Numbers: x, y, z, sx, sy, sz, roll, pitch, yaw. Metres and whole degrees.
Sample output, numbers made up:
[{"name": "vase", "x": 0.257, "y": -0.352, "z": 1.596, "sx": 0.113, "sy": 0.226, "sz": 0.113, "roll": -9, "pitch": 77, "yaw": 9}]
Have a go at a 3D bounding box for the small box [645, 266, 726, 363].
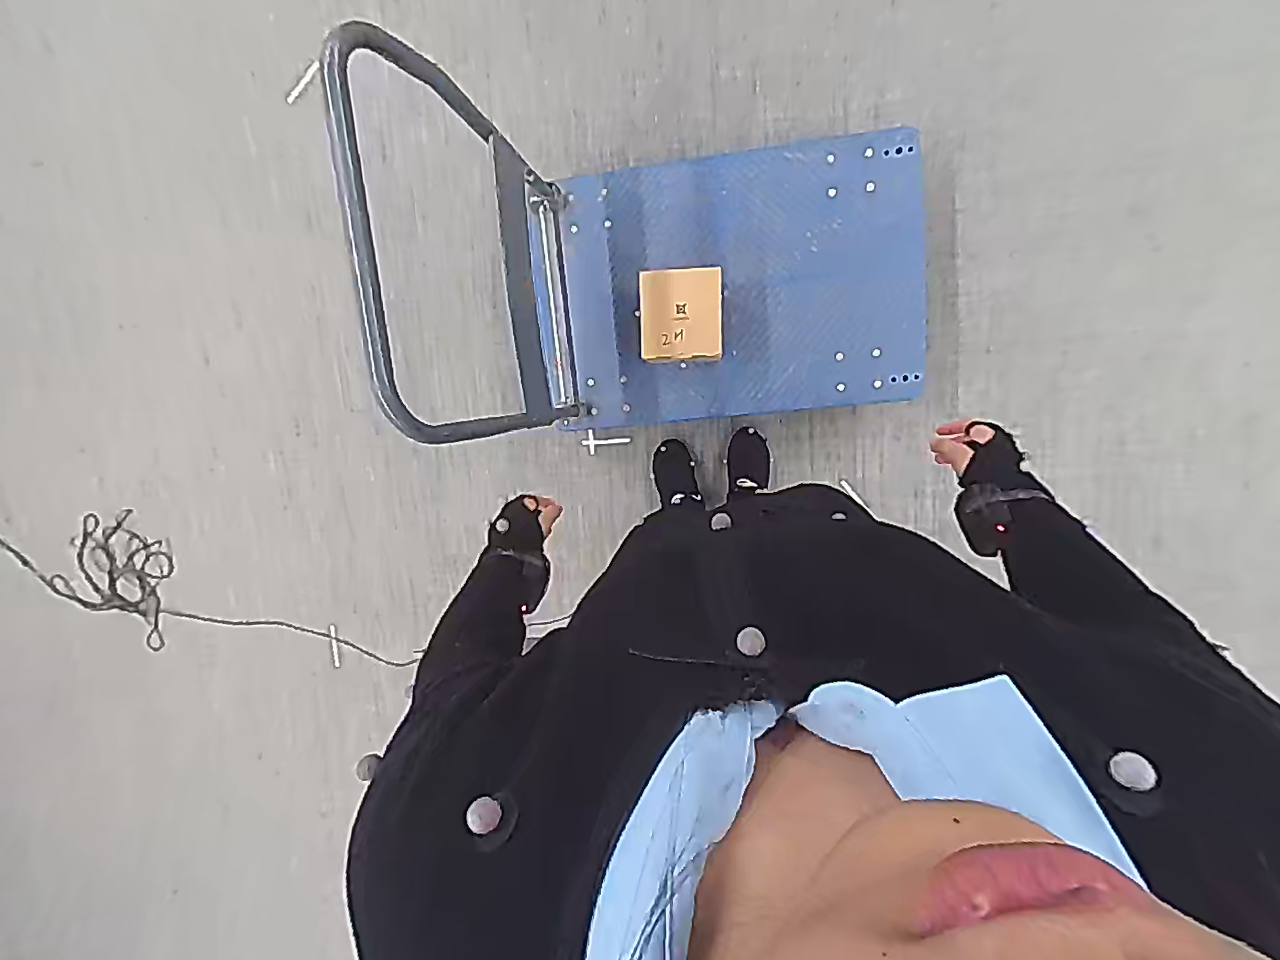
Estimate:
[{"name": "small box", "x": 0.099, "y": -0.349, "z": 1.168, "sx": 0.168, "sy": 0.176, "sz": 0.179, "roll": -1, "pitch": 99, "yaw": 7}]
